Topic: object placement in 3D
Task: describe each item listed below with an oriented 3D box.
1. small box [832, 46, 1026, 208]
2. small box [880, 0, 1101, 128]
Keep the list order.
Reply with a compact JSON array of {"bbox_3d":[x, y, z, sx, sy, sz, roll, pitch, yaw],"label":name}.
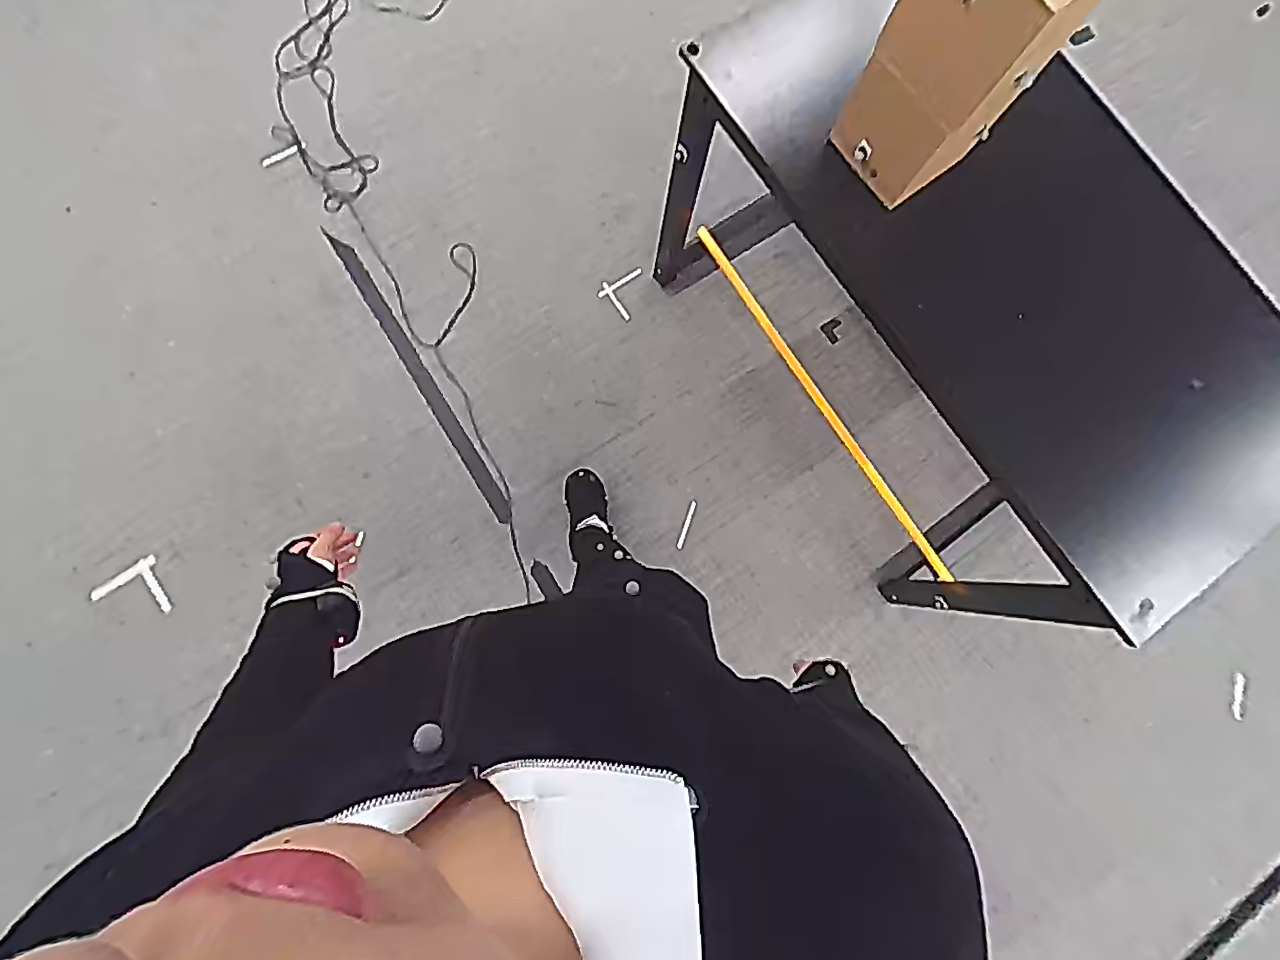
[{"bbox_3d":[0.439,-0.576,0.846,0.179,0.176,0.168,-38,84,-8],"label":"small box"},{"bbox_3d":[0.447,-0.602,0.683,0.168,0.176,0.179,-38,86,-9],"label":"small box"}]
